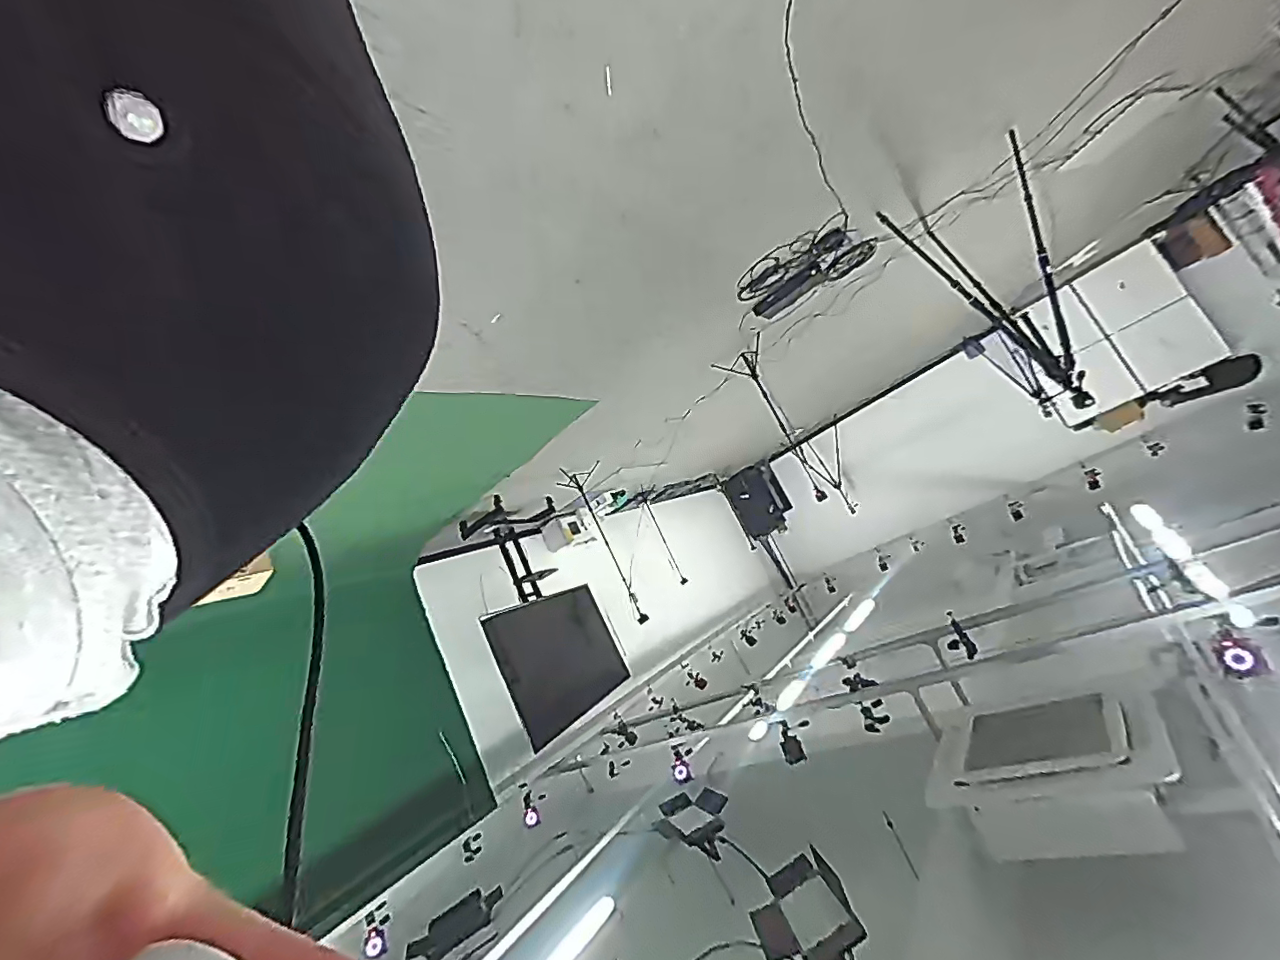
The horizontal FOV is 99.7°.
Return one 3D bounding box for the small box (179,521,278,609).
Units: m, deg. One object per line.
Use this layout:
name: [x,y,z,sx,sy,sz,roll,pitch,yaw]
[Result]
small box: [-1.130,0.228,1.479,0.179,0.176,0.168,-33,167,37]
